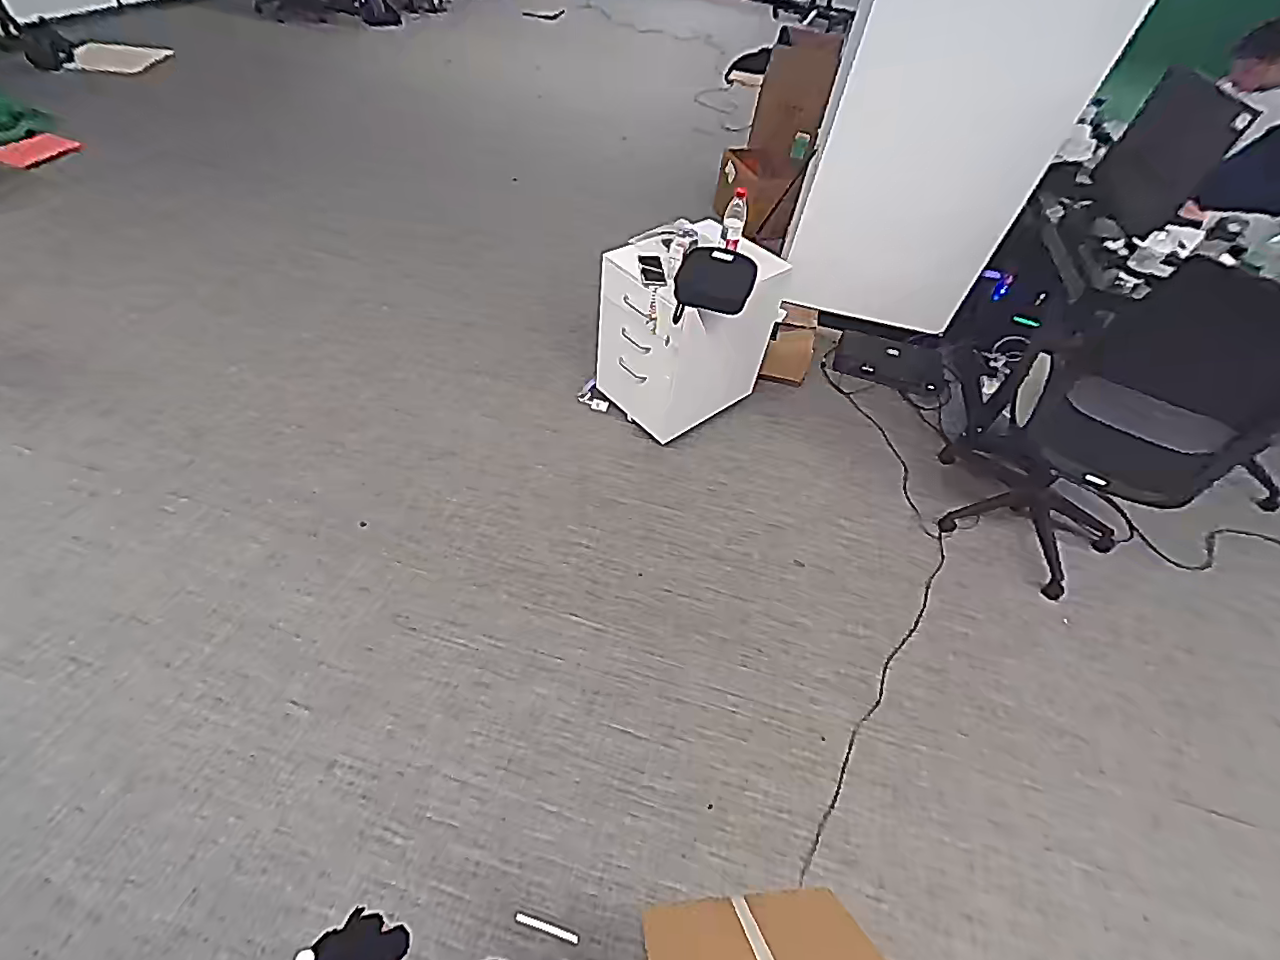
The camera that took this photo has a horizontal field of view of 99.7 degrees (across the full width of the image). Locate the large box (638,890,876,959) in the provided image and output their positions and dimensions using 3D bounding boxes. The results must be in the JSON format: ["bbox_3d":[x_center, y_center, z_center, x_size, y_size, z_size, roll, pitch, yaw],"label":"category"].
[{"bbox_3d":[0.177,0.790,0.653,0.320,0.408,0.320,-3,81,-6],"label":"large box"}]
